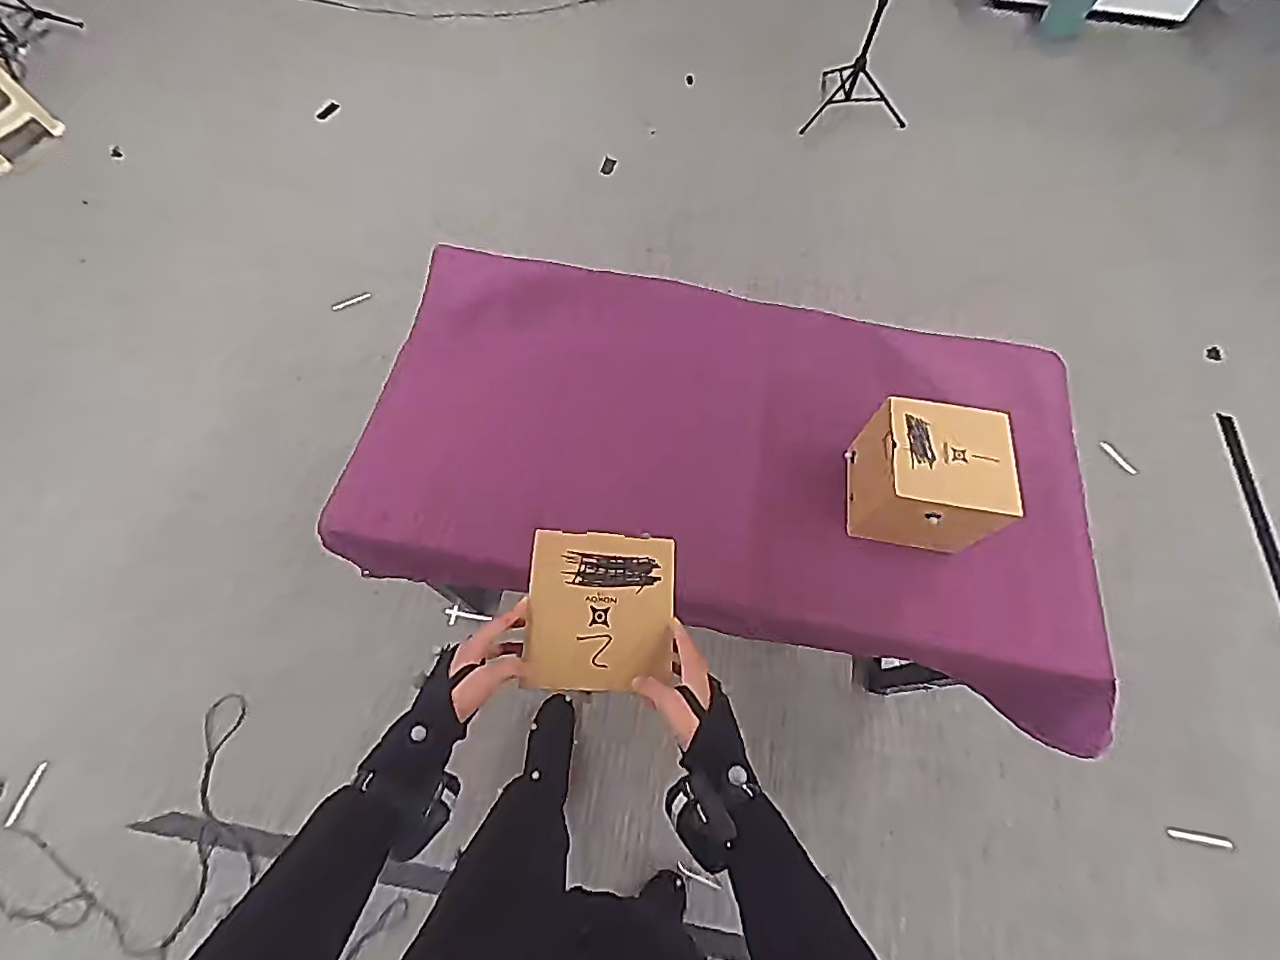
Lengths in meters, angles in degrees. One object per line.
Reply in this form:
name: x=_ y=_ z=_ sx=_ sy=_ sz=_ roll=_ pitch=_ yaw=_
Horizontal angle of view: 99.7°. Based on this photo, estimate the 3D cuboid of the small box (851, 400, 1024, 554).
small box: x=0.437 y=0.003 z=0.827 sx=0.179 sy=0.176 sz=0.168 roll=10 pitch=65 yaw=2
